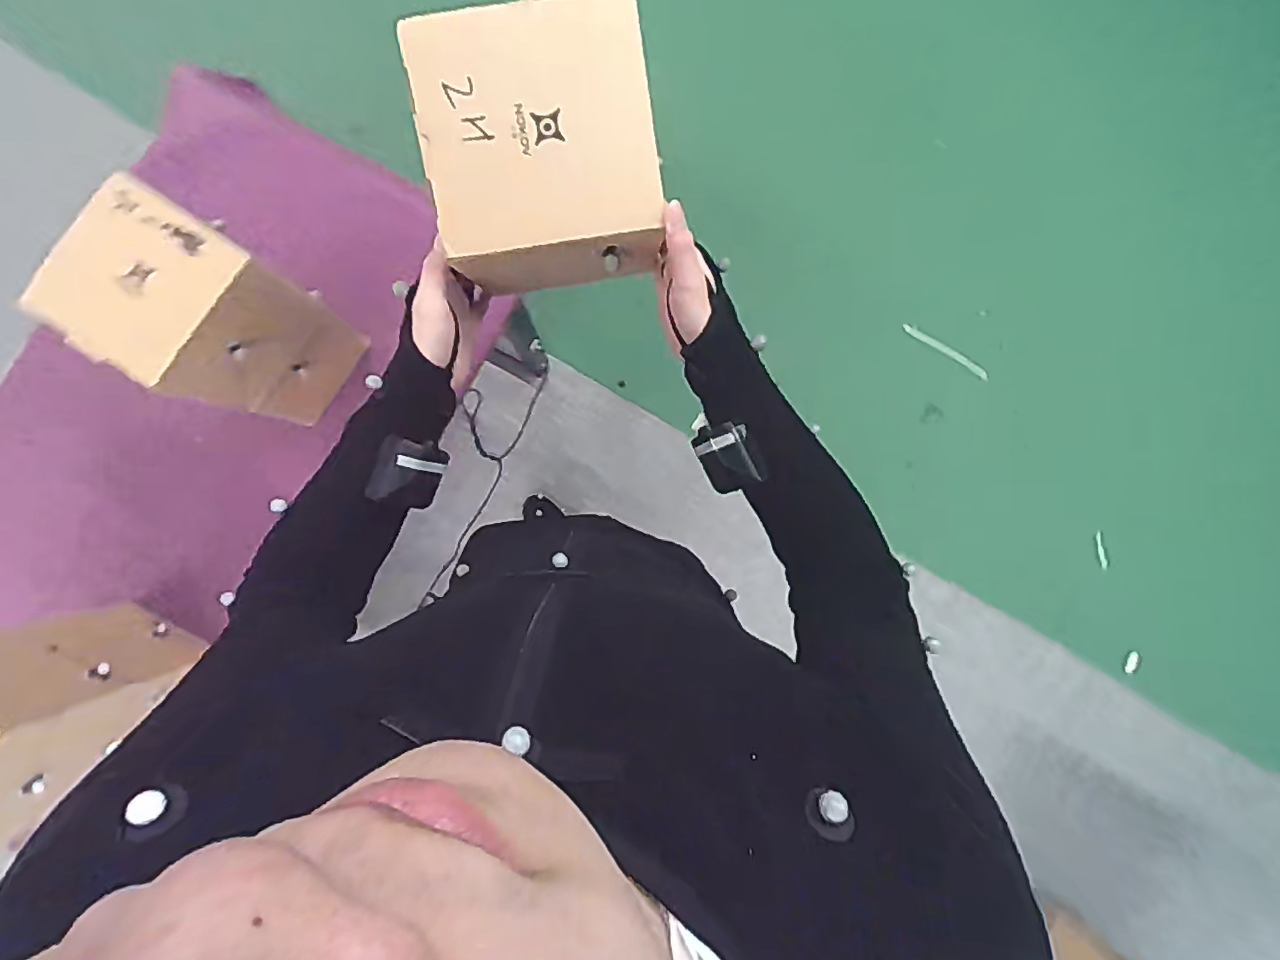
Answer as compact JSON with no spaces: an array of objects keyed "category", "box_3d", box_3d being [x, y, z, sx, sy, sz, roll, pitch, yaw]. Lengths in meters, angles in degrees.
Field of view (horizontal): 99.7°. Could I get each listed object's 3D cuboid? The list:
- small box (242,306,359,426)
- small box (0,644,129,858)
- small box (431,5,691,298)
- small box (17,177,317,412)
[{"category":"small box","box_3d":[-0.553,-0.200,0.803,0.168,0.176,0.179,33,87,-3]},{"category":"small box","box_3d":[-0.739,0.306,0.599,0.168,0.176,0.179,25,86,-3]},{"category":"small box","box_3d":[-0.060,-0.268,0.481,0.179,0.176,0.168,-8,99,-2]},{"category":"small box","box_3d":[-0.530,-0.199,0.639,0.168,0.176,0.179,33,87,-3]}]
